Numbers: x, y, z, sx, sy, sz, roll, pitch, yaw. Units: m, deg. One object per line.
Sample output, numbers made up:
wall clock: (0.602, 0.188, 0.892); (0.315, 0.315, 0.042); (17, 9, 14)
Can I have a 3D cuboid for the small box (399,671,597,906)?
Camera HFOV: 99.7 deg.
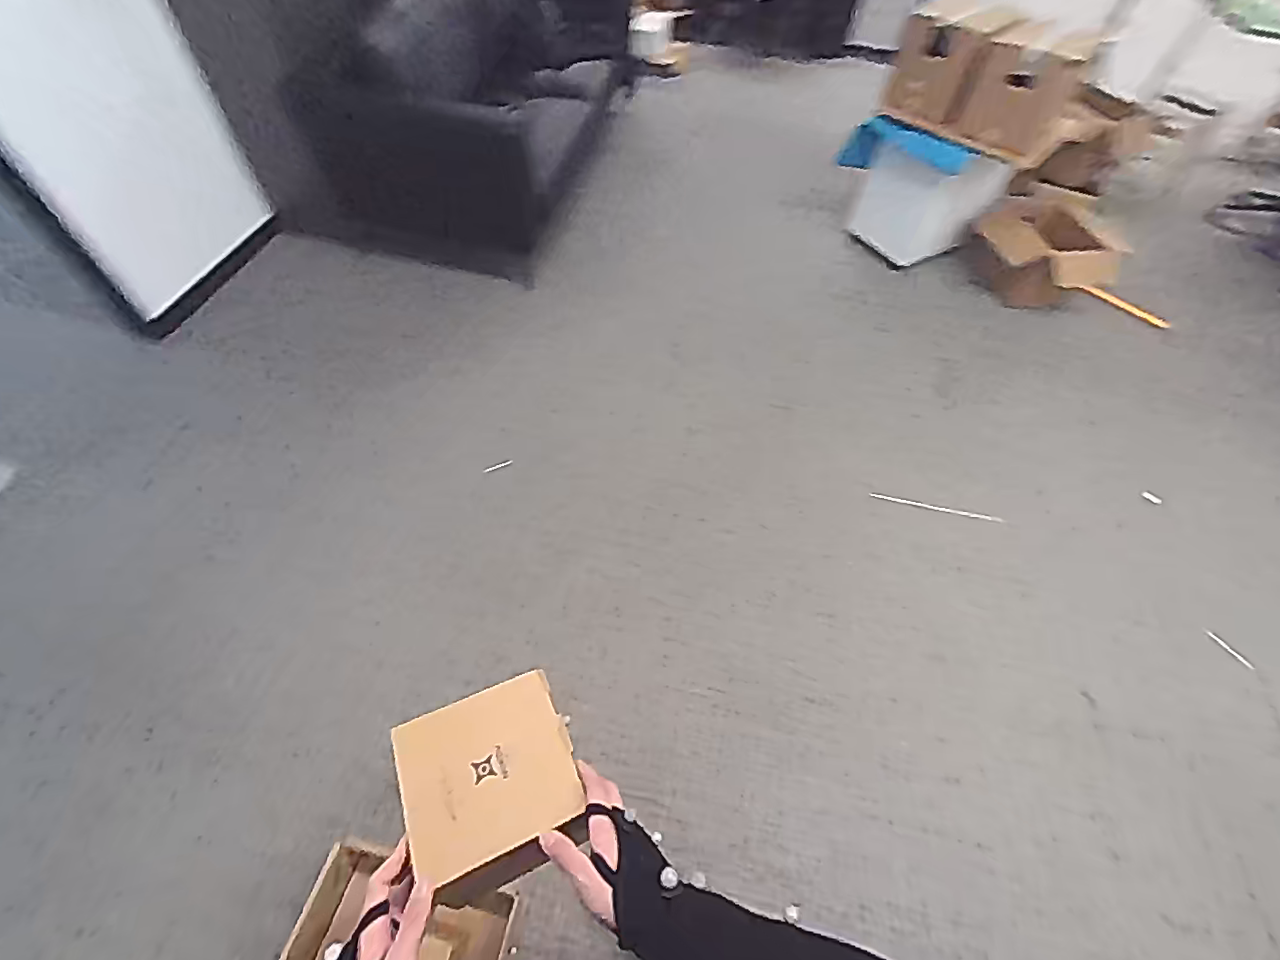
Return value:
small box: (-0.158, 0.356, 0.627); (0.179, 0.176, 0.168); (-17, 51, -17)
